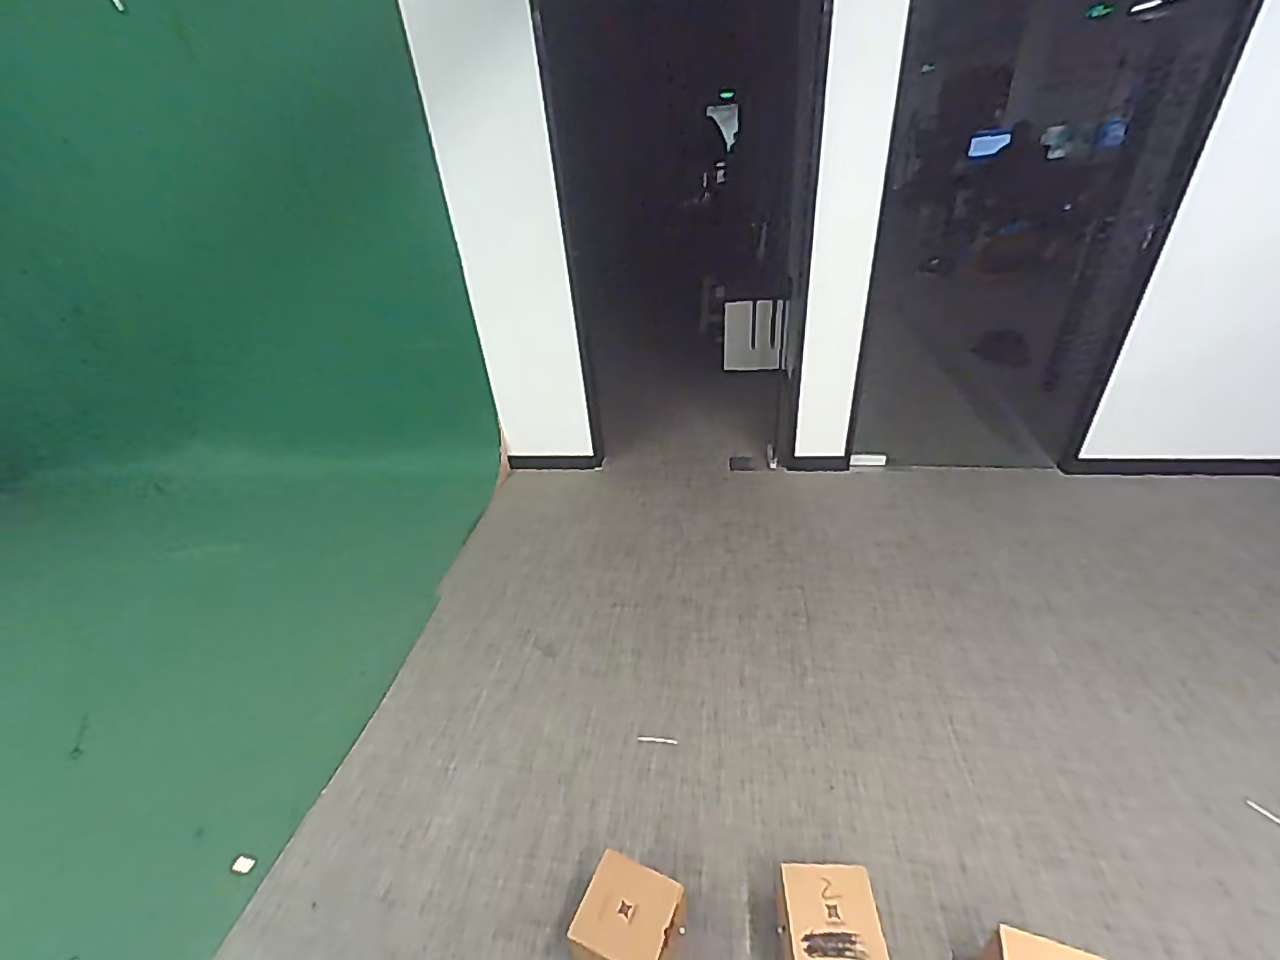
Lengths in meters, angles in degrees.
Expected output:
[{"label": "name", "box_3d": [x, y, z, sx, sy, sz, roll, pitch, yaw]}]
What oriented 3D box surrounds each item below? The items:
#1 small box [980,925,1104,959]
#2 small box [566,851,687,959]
[{"label": "small box", "box_3d": [0.695, 0.917, 0.916, 0.168, 0.176, 0.179, 8, 35, 18]}, {"label": "small box", "box_3d": [-0.017, 0.883, 1.058, 0.179, 0.176, 0.168, 6, 33, 25]}]
